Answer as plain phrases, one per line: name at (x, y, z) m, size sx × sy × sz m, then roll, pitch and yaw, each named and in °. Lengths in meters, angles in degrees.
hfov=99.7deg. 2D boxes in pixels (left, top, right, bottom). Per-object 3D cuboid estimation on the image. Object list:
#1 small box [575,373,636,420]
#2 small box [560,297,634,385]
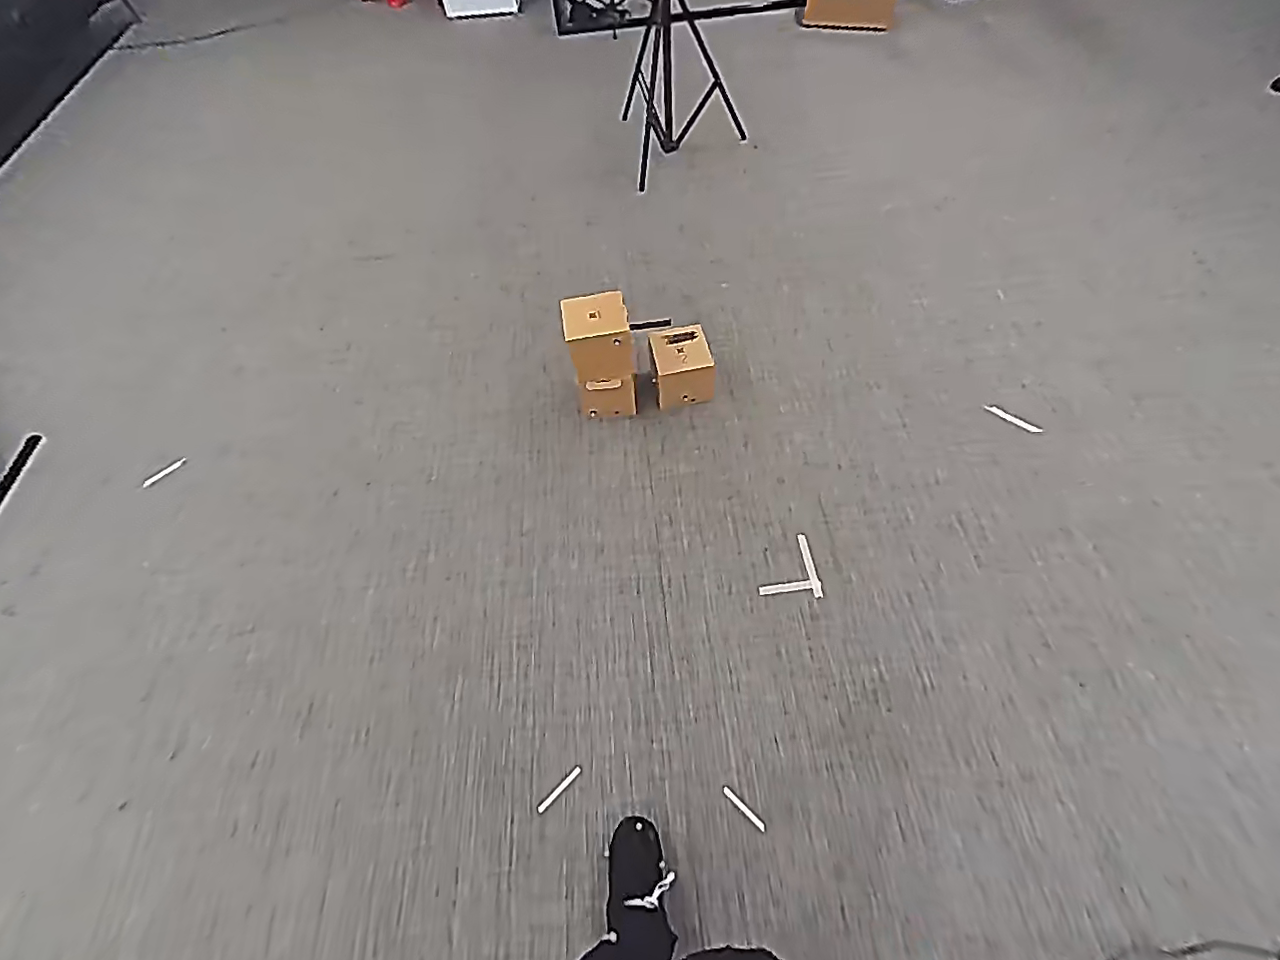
small box at (-0.103, -0.298, 1.672) m, size 0.168 × 0.176 × 0.179 m, roll -5°, pitch 58°, yaw 2°
small box at (-0.120, -0.390, 1.538) m, size 0.179 × 0.176 × 0.168 m, roll -10°, pitch 58°, yaw -2°
